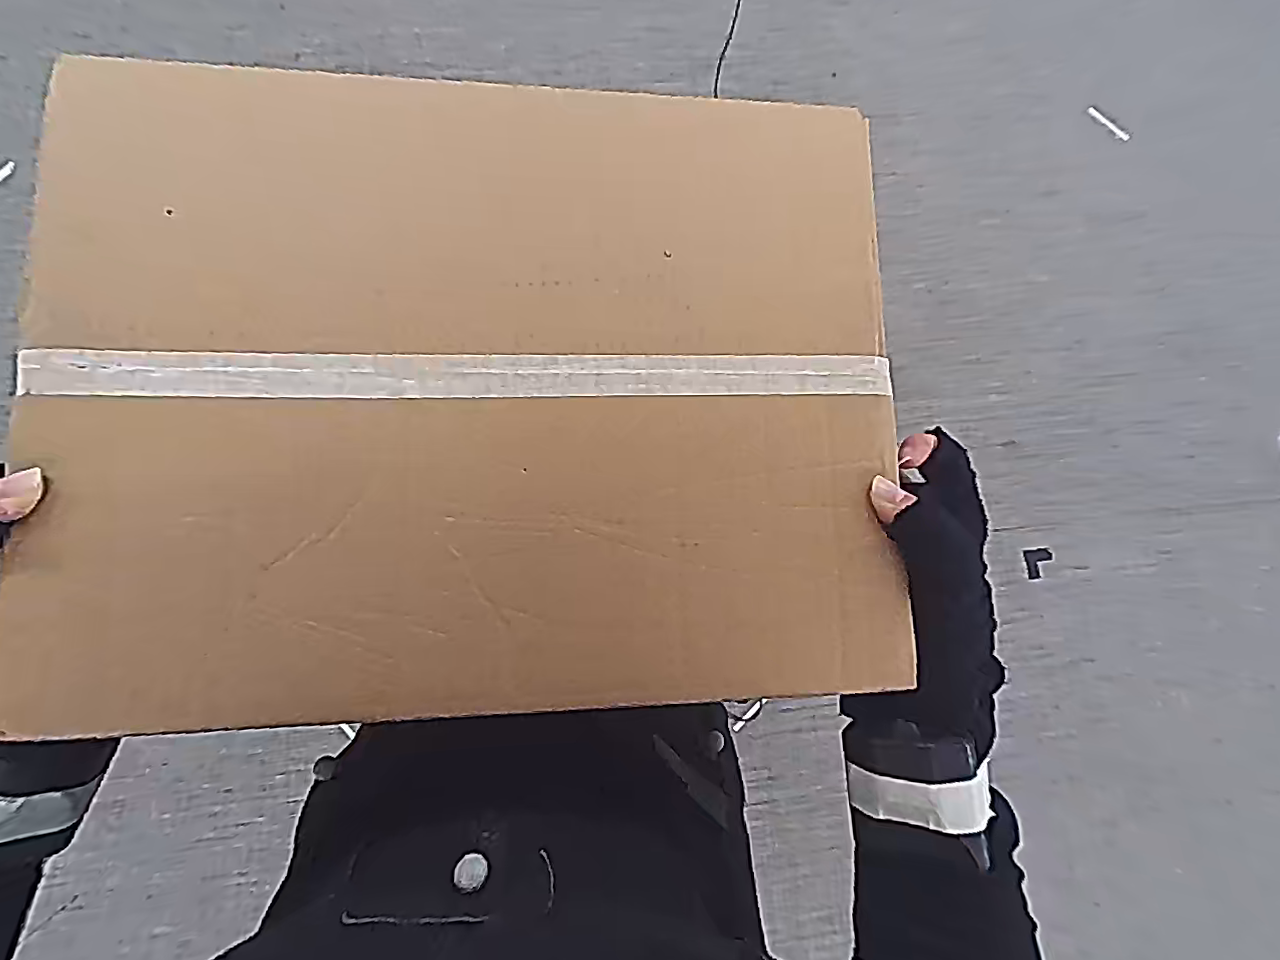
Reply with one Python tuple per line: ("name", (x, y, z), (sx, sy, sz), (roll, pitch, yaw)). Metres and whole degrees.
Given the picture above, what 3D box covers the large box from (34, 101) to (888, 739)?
("large box", (-0.088, -0.027, 0.420), (0.408, 0.320, 0.320), (-1, 82, -6))
